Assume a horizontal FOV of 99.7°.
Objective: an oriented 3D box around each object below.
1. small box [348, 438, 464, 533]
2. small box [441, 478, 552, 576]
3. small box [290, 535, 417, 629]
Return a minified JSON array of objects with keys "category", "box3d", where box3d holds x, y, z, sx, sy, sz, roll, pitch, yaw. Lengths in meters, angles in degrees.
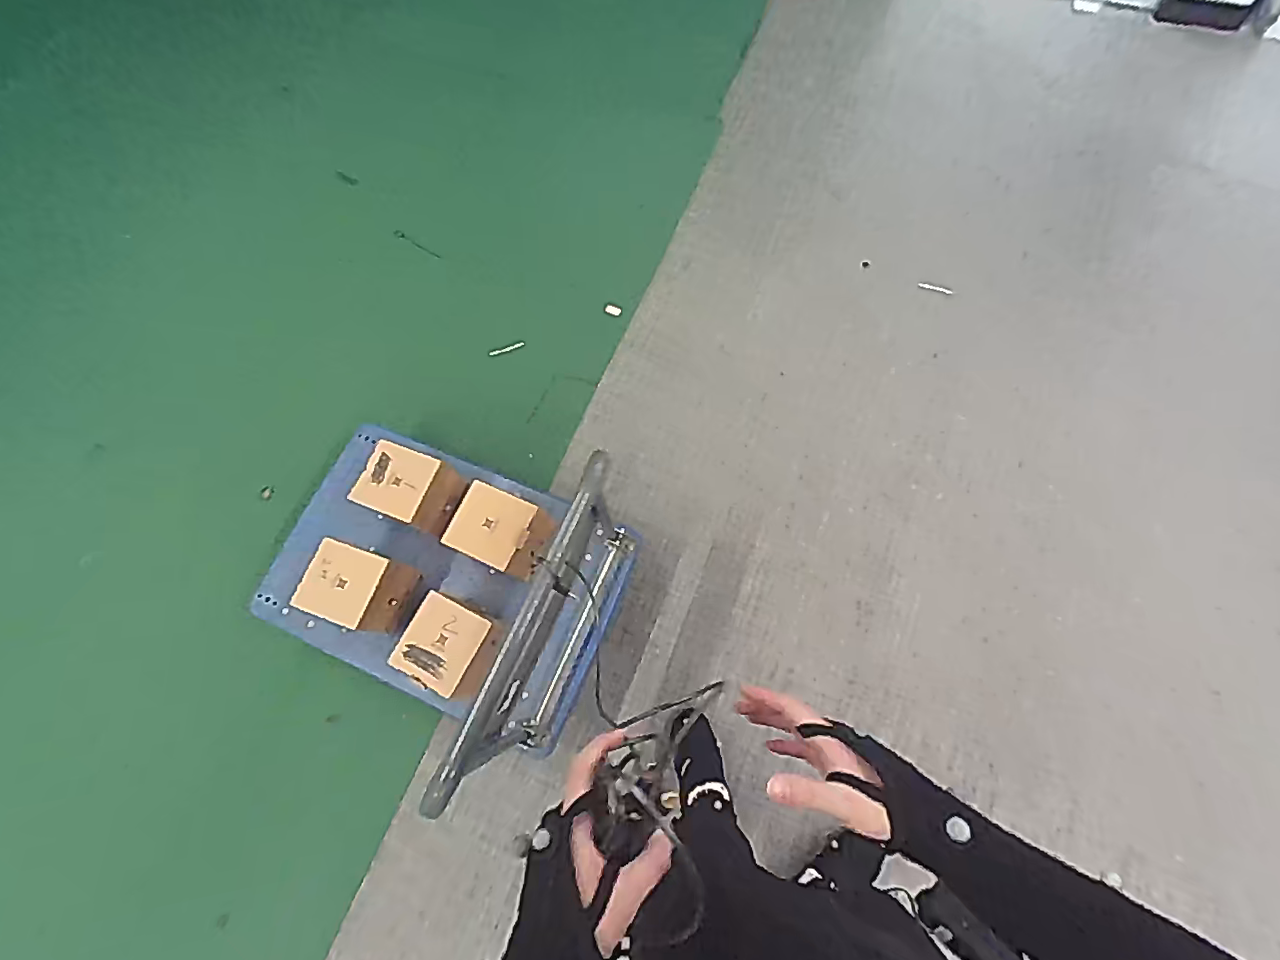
[{"category":"small box","box3d":[-0.577,0.020,1.357,0.179,0.176,0.168,20,75,10]},{"category":"small box","box3d":[-0.338,0.121,1.306,0.179,0.176,0.168,22,75,11]},{"category":"small box","box3d":[-0.668,0.250,1.287,0.179,0.176,0.168,18,73,10]}]
